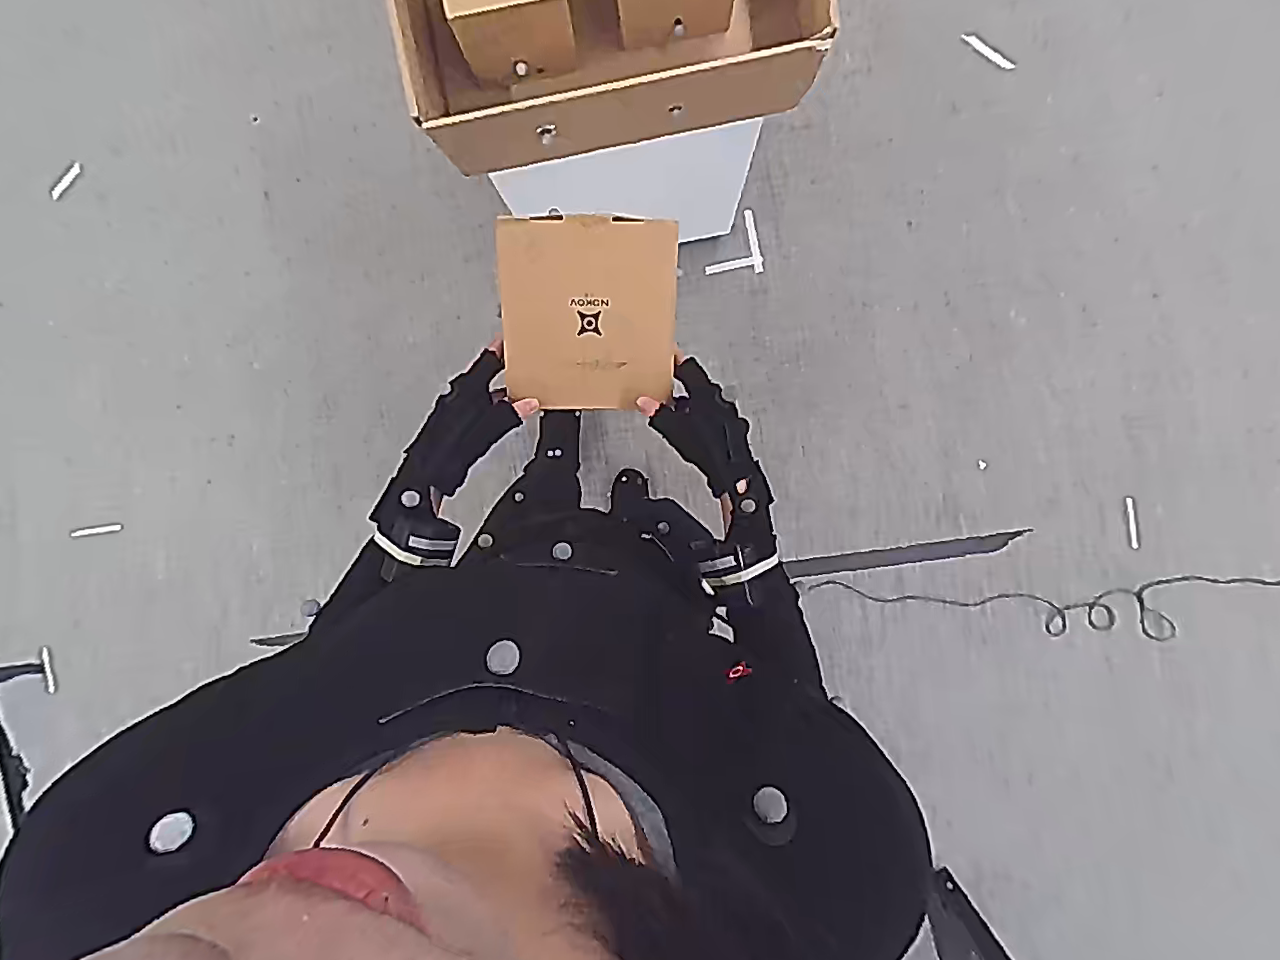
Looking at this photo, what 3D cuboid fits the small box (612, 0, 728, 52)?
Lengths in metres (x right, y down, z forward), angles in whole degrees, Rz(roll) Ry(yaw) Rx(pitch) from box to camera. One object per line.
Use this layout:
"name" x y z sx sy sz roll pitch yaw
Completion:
"small box" 0.039 -0.779 0.792 0.179 0.176 0.168 -10 96 4

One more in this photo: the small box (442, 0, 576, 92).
"small box" -0.197 -0.727 0.801 0.168 0.176 0.179 -10 97 2

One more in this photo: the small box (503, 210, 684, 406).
"small box" -0.048 -0.182 0.583 0.168 0.176 0.179 -1 110 -3
